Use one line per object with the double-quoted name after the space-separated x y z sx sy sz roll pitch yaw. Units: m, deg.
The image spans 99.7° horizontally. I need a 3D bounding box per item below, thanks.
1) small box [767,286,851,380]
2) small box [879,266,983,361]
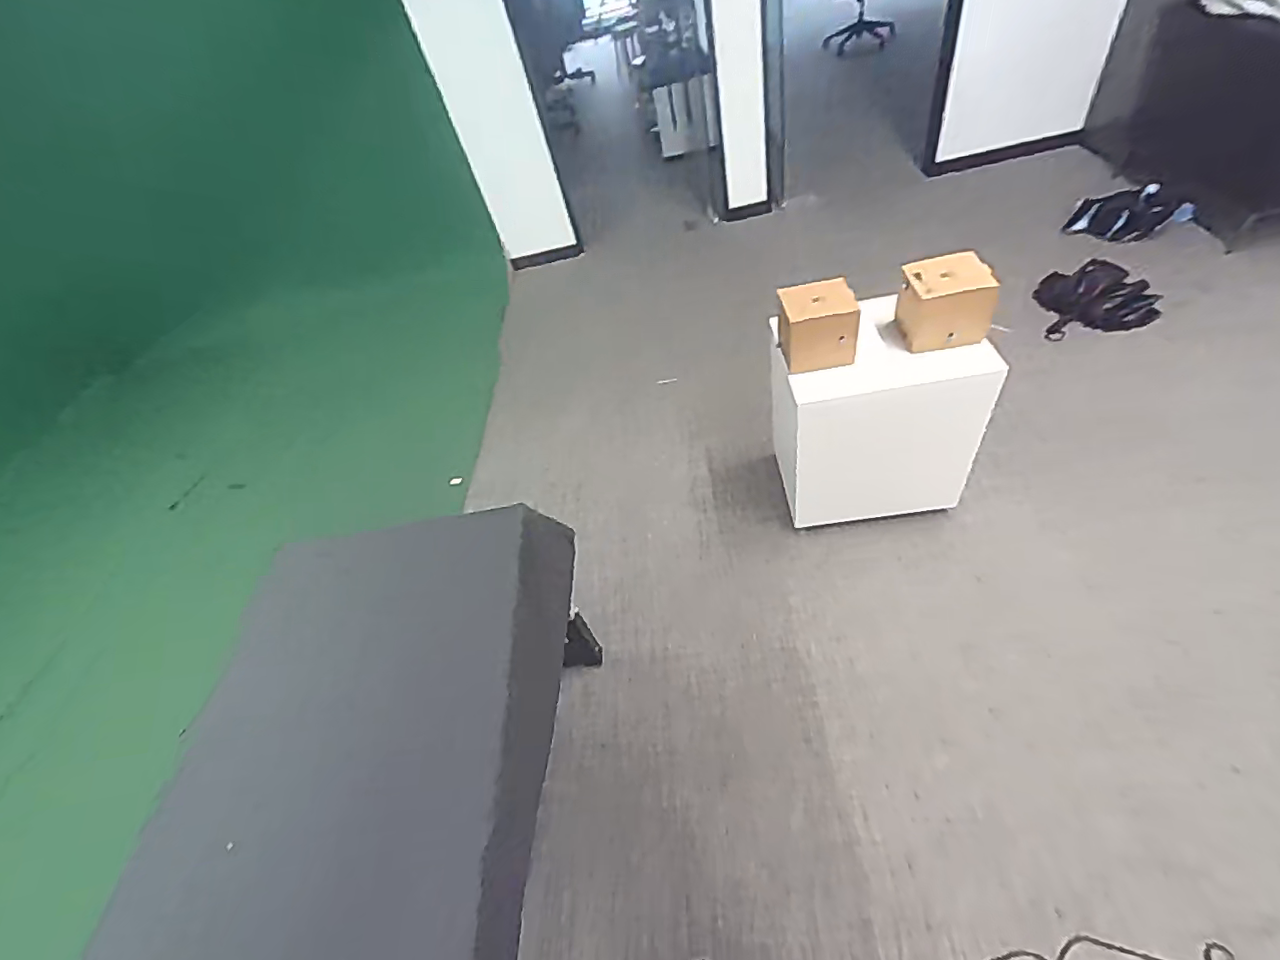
0.444 -0.390 1.448 0.179 0.176 0.168 -9 46 4 "small box"
0.752 -0.433 1.418 0.179 0.176 0.168 -7 48 6 "small box"
